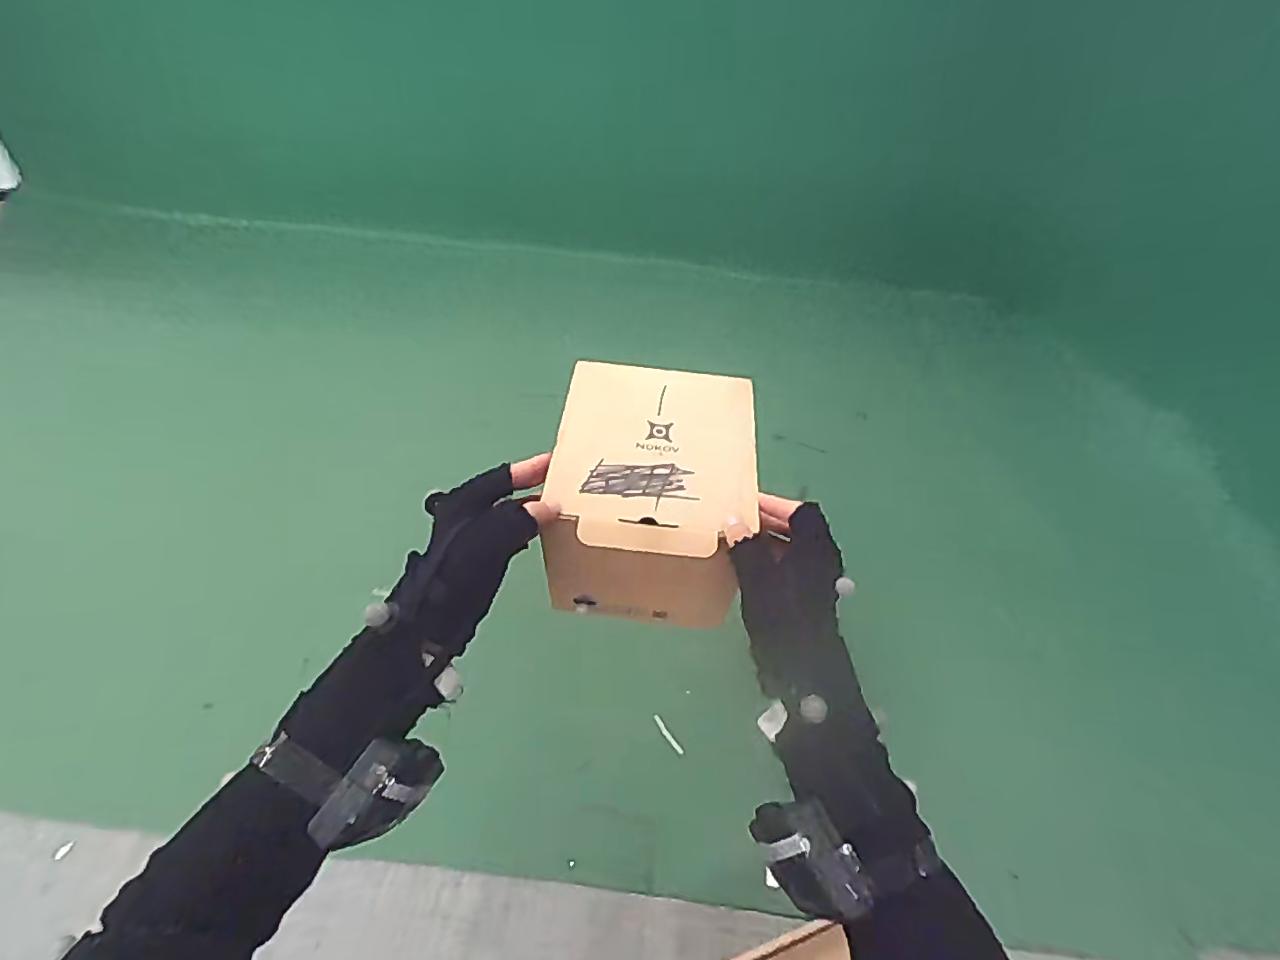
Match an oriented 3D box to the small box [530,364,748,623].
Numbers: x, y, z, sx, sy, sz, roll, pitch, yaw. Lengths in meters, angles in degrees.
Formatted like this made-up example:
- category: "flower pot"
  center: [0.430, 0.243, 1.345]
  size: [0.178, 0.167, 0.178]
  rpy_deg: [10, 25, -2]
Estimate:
- category: "small box"
  center: [0.003, 0.018, 0.510]
  size: [0.168, 0.176, 0.179]
  rpy_deg: [6, 51, 0]
